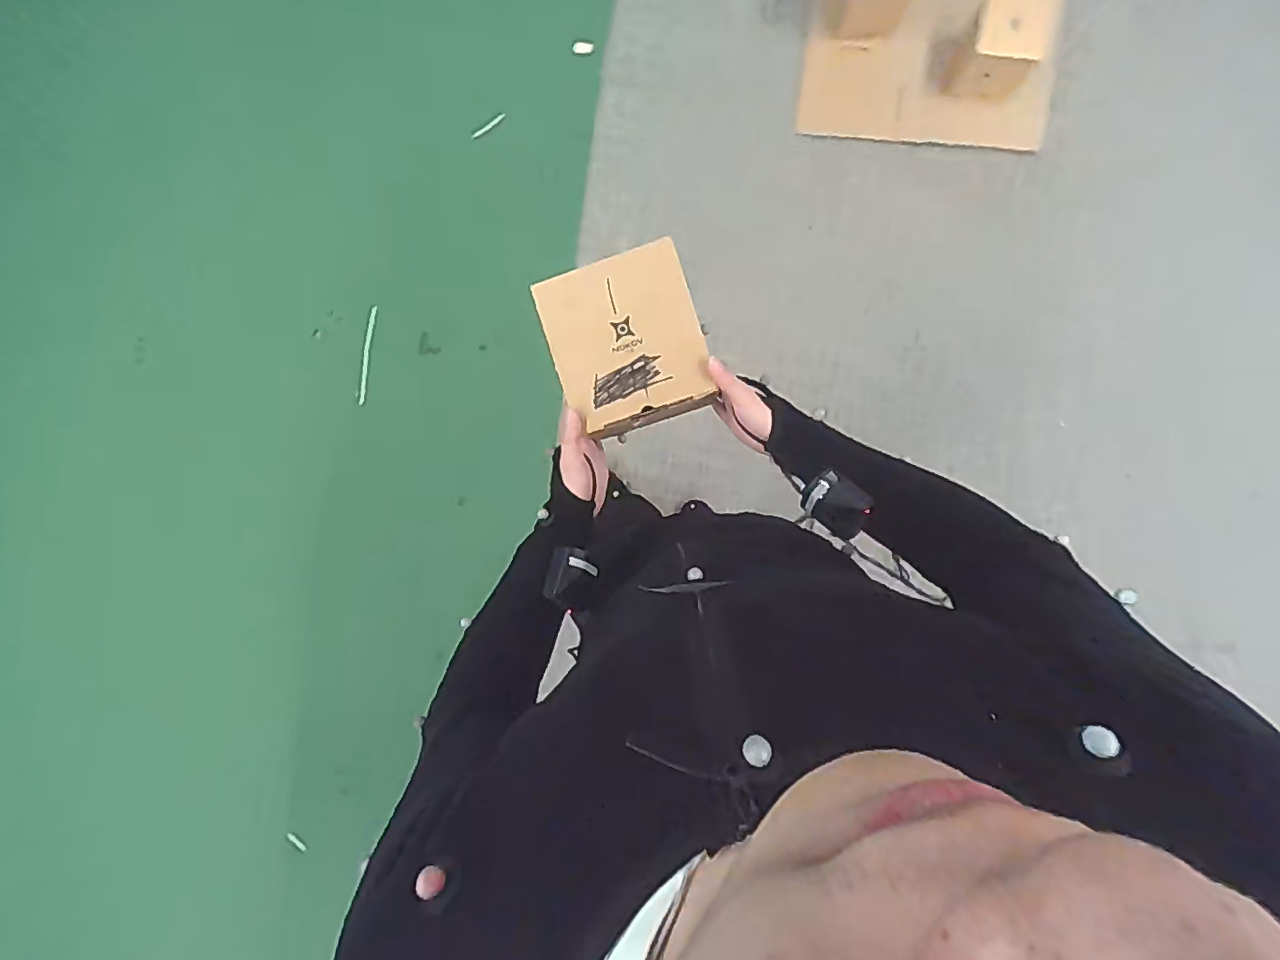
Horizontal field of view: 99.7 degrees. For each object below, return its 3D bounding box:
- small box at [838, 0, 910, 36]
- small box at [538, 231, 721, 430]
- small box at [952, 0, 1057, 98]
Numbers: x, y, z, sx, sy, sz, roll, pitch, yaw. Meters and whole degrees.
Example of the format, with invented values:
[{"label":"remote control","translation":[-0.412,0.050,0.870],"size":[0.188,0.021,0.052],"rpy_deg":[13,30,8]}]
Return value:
[{"label":"small box","translation":[0.645,-1.365,1.472],"size":[0.168,0.176,0.179],"rpy_deg":[1,90,6]},{"label":"small box","translation":[-0.004,-0.164,0.660],"size":[0.168,0.176,0.179],"rpy_deg":[-16,91,5]},{"label":"small box","translation":[0.959,-1.159,1.434],"size":[0.168,0.176,0.179],"rpy_deg":[11,90,7]}]
